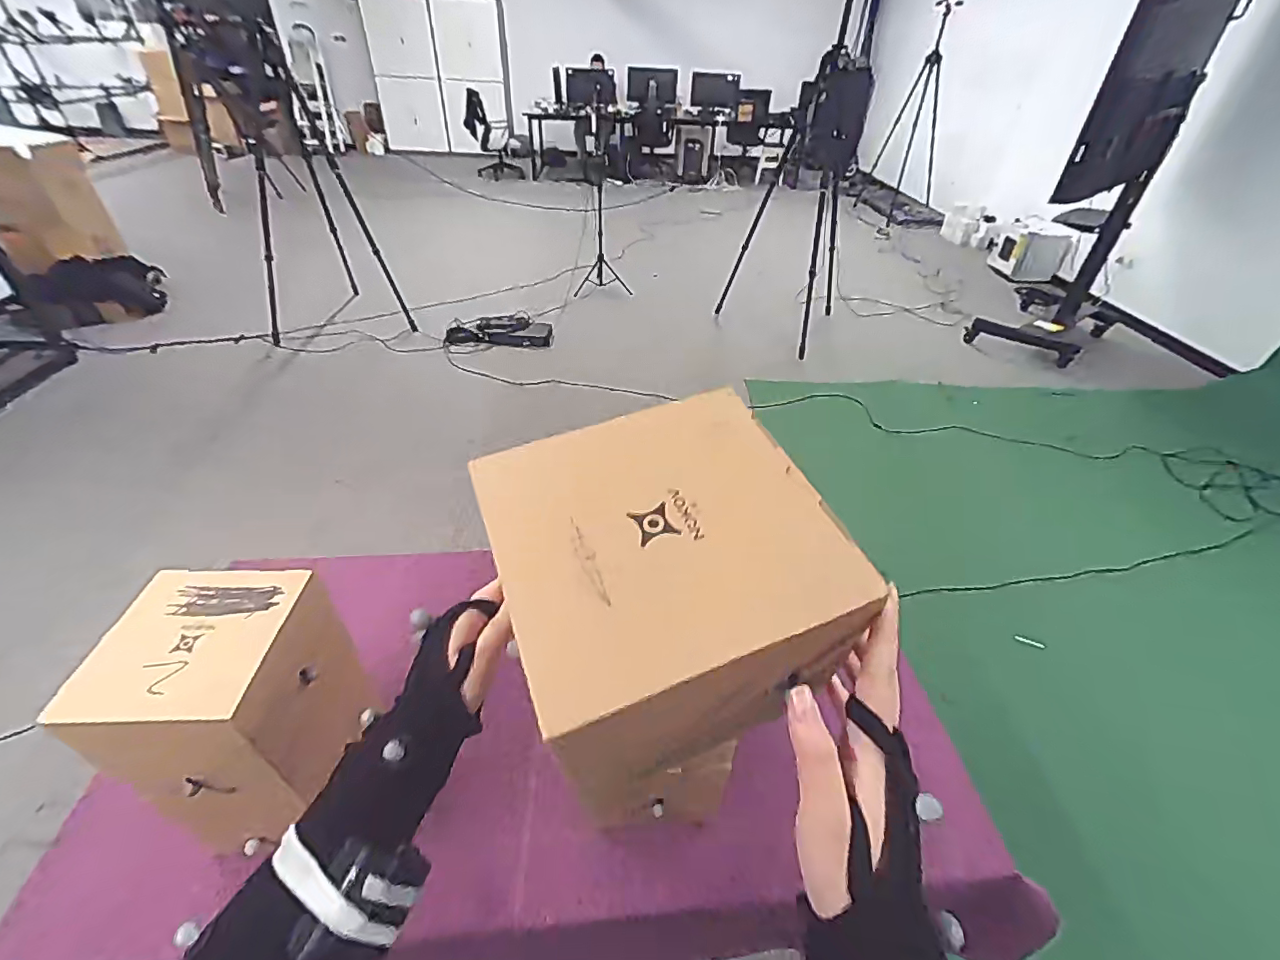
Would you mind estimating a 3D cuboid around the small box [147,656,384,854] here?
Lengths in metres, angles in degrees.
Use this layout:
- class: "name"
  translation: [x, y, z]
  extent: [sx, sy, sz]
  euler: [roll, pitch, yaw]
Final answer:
- class: "small box"
  translation: [-0.448, 0.347, 0.689]
  extent: [0.168, 0.176, 0.179]
  euler: [0, 40, -3]

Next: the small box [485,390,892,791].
- class: "small box"
  translation: [0.017, 0.073, 0.353]
  extent: [0.179, 0.176, 0.168]
  euler: [-18, 52, -12]
